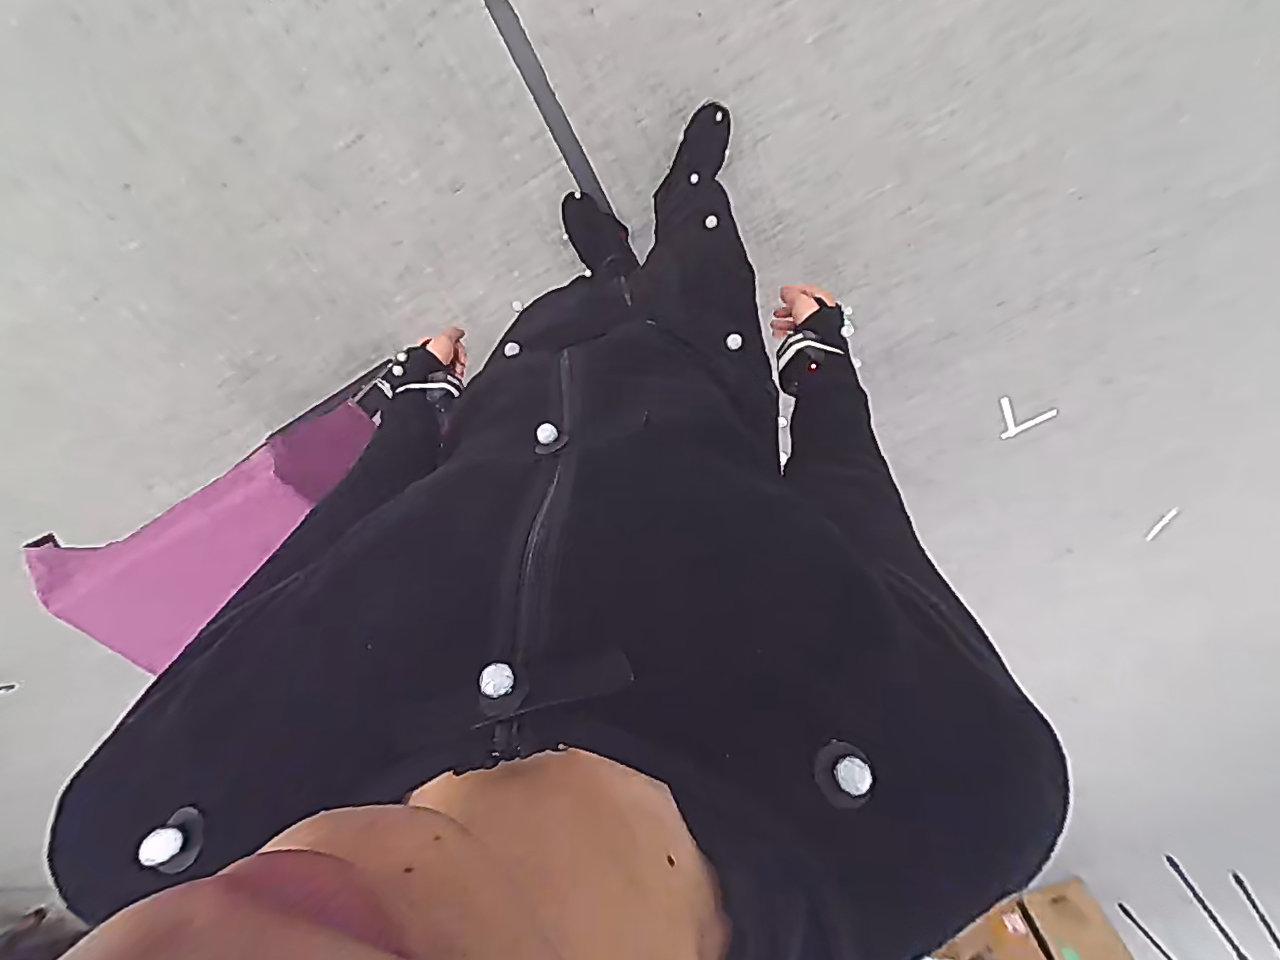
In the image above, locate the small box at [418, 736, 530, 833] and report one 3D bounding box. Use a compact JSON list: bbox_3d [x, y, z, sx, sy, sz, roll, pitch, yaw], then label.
[{"bbox_3d":[-0.384,0.748,1.289,0.168,0.176,0.179,-36,116,17],"label":"small box"}]
